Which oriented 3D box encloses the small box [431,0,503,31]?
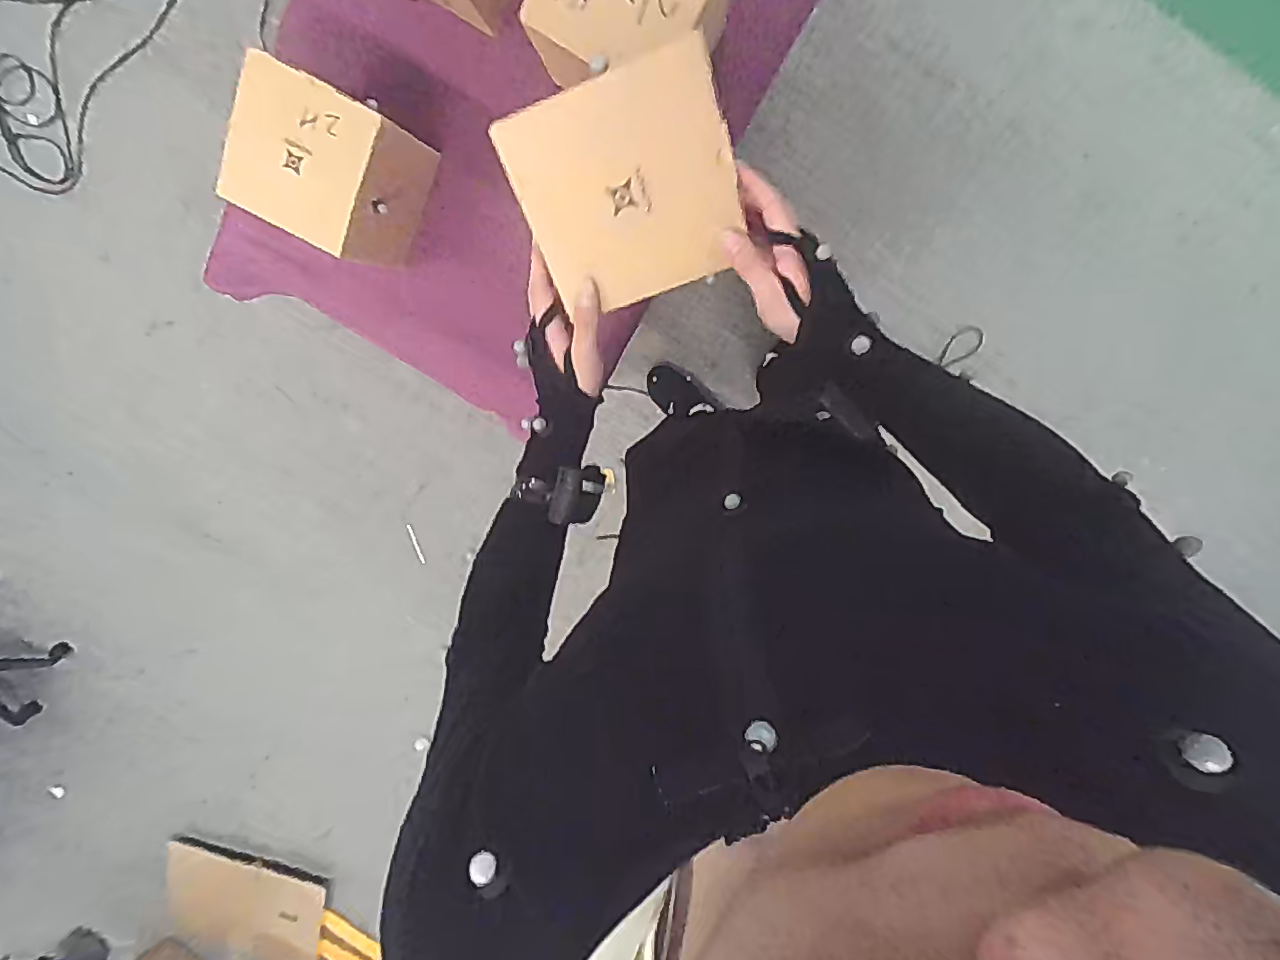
[{"bbox_3d":[-0.235,-0.681,0.616,0.168,0.176,0.179,29,108,-4],"label":"small box"}]

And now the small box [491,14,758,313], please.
[{"bbox_3d":[-0.003,-0.276,0.496,0.179,0.176,0.168,-15,120,12],"label":"small box"}]

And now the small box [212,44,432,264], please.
[{"bbox_3d":[-0.404,-0.404,0.712,0.168,0.176,0.179,28,108,-4],"label":"small box"}]
